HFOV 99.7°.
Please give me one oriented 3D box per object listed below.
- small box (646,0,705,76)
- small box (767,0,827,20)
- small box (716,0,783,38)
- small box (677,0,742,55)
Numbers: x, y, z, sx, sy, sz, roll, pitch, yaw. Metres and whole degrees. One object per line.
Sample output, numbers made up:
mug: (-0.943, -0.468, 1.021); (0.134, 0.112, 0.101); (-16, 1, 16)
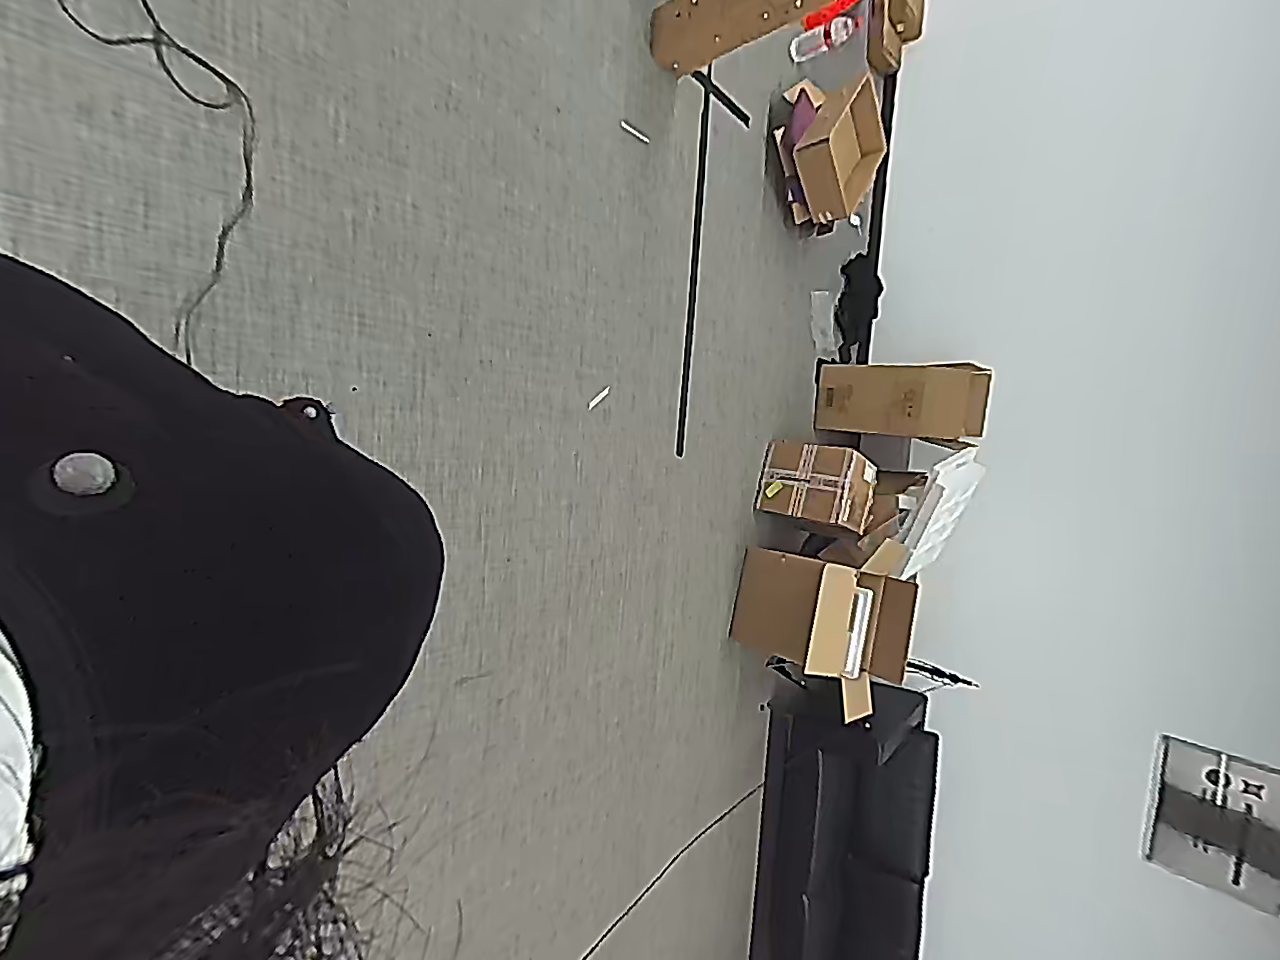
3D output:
small box: (0.140, -1.698, 2.057); (0.168, 0.176, 0.179); (-1, 97, -47)
small box: (0.499, -1.636, 1.728); (0.168, 0.176, 0.179); (-2, 100, -47)
small box: (0.377, -1.657, 1.835); (0.179, 0.176, 0.168); (-2, 99, -48)
small box: (0.257, -1.678, 1.942); (0.179, 0.176, 0.168); (-1, 97, -47)
